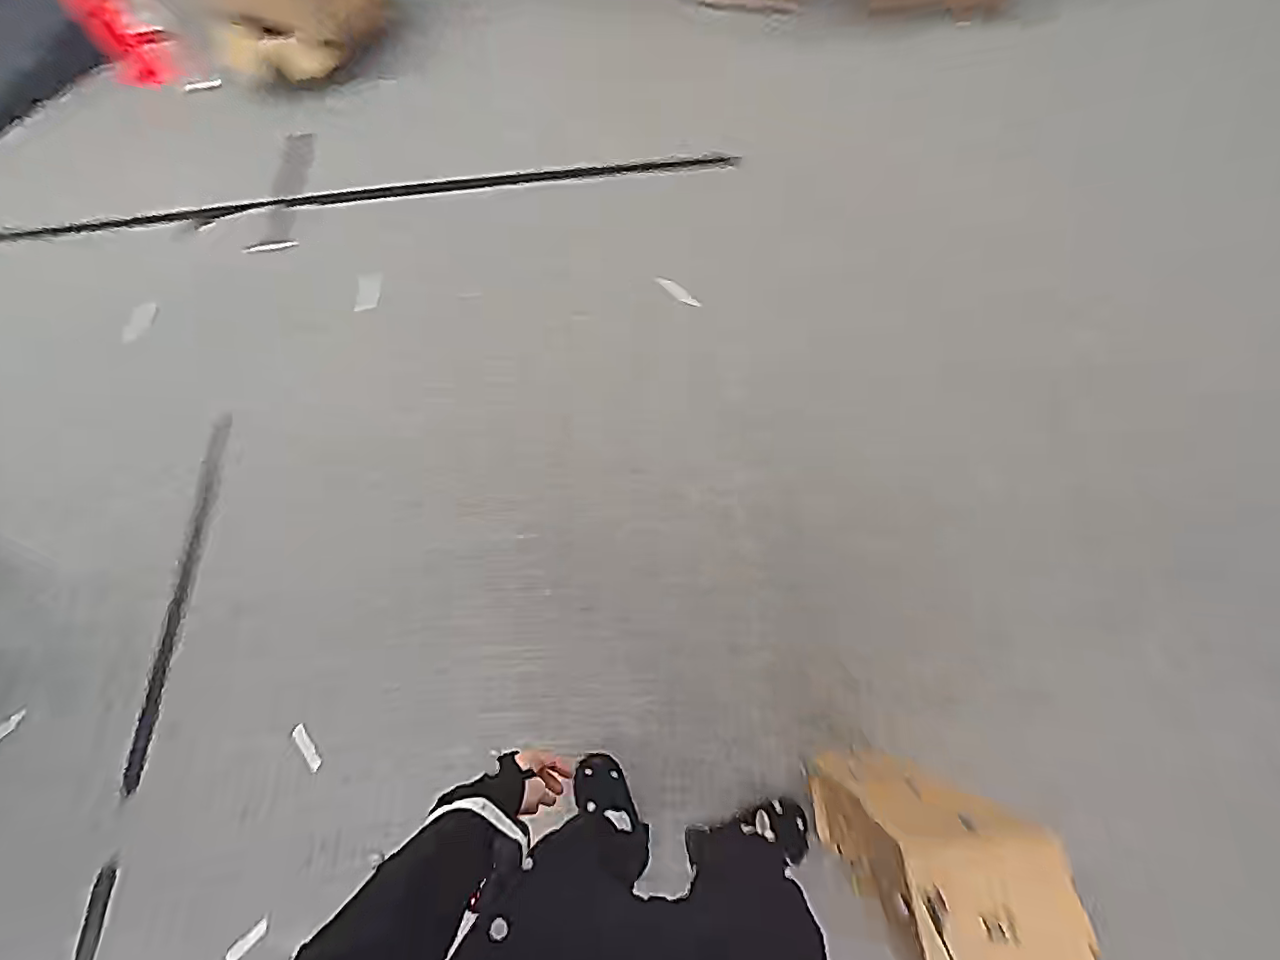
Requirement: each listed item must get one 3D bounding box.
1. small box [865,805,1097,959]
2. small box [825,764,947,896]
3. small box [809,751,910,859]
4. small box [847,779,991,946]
[{"bbox_3d":[0.399,0.509,0.657,0.179,0.176,0.168,-6,71,4],"label":"small box"},{"bbox_3d":[0.439,0.614,0.964,0.179,0.176,0.168,-4,72,4],"label":"small box"},{"bbox_3d":[0.456,0.664,1.116,0.179,0.176,0.168,-4,71,5],"label":"small box"},{"bbox_3d":[0.424,0.565,0.810,0.168,0.176,0.179,-5,71,5],"label":"small box"}]
